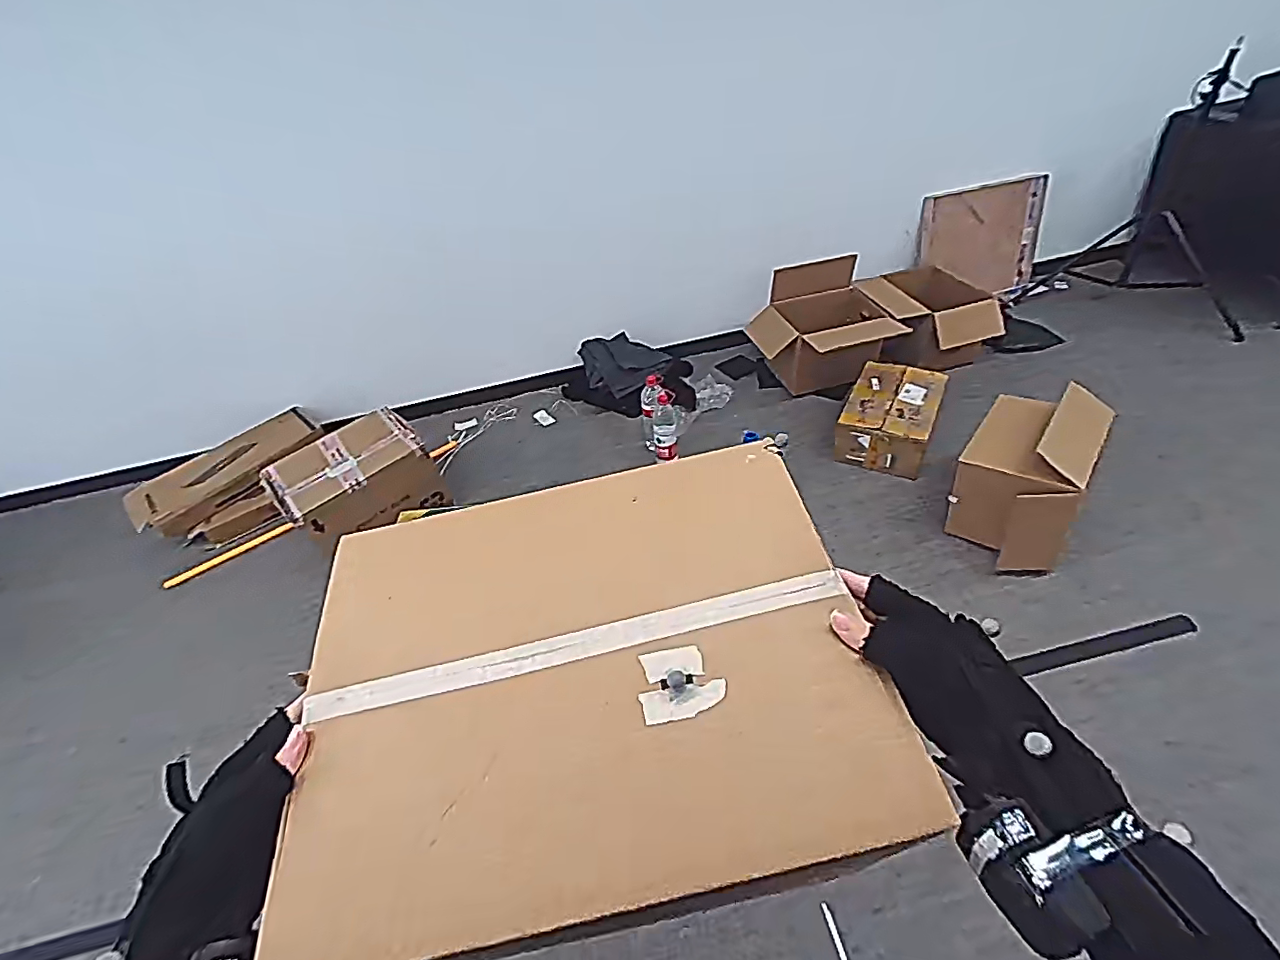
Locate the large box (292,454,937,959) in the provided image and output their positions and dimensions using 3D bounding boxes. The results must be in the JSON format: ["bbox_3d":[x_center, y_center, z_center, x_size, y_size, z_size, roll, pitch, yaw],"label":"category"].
[{"bbox_3d":[-0.023,0.225,0.527,0.408,0.320,0.320,-12,50,-2],"label":"large box"}]
